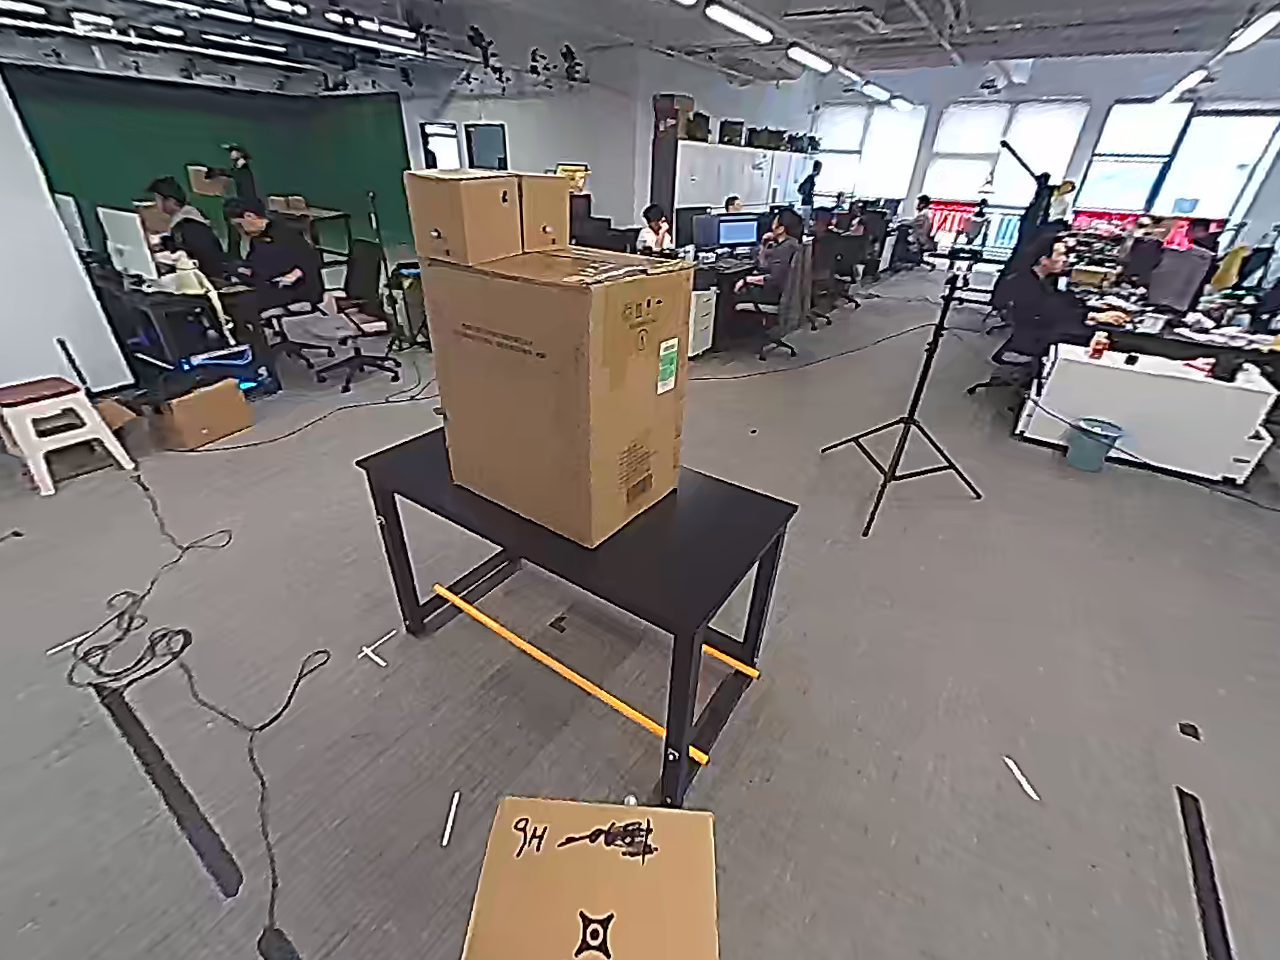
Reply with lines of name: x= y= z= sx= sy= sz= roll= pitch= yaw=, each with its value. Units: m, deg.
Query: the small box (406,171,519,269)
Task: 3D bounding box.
small box: x=-0.388 y=-0.587 z=1.213 sx=0.168 sy=0.176 sz=0.179 roll=20 pitch=38 yaw=24

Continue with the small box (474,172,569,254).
small box: x=-0.295 y=-0.664 z=1.350 sx=0.179 sy=0.176 sz=0.168 roll=22 pitch=34 yaw=28

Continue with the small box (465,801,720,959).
small box: x=-0.031 y=0.364 z=0.396 sx=0.168 sy=0.176 sz=0.179 roll=3 pitch=41 yaw=1
